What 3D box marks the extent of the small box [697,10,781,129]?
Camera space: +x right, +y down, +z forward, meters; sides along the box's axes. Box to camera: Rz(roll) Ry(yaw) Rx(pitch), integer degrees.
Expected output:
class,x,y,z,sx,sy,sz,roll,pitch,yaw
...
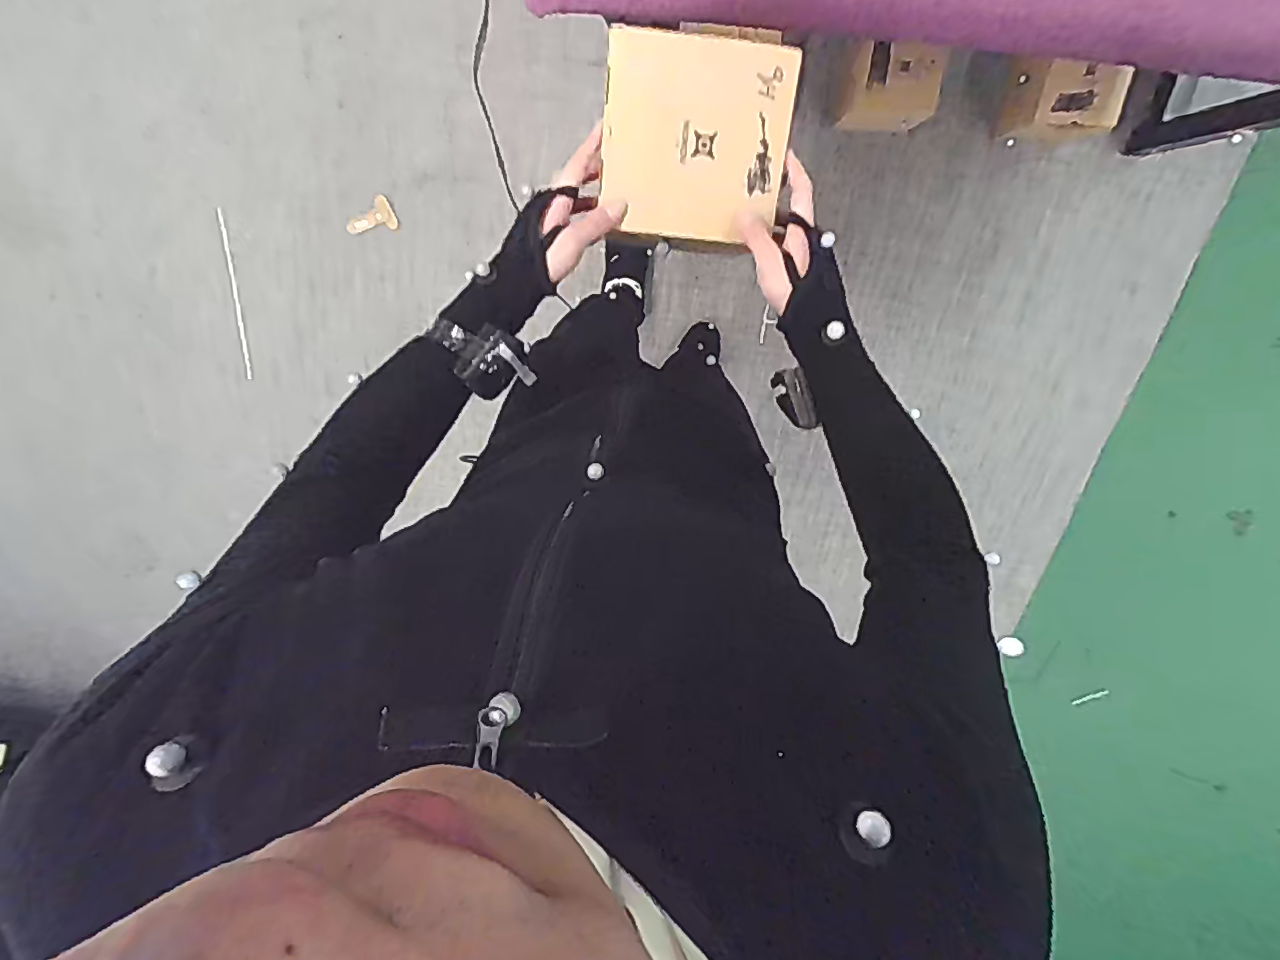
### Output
class,x,y,z,sx,sy,sz,roll,pitch,yaw
small box,0.210,-0.886,1.186,0.168,0.176,0.179,0,112,6

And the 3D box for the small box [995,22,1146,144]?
class,x,y,z,sx,sy,sz,roll,pitch,yaw
small box,0.892,-0.828,1.145,0.168,0.176,0.179,5,112,3
